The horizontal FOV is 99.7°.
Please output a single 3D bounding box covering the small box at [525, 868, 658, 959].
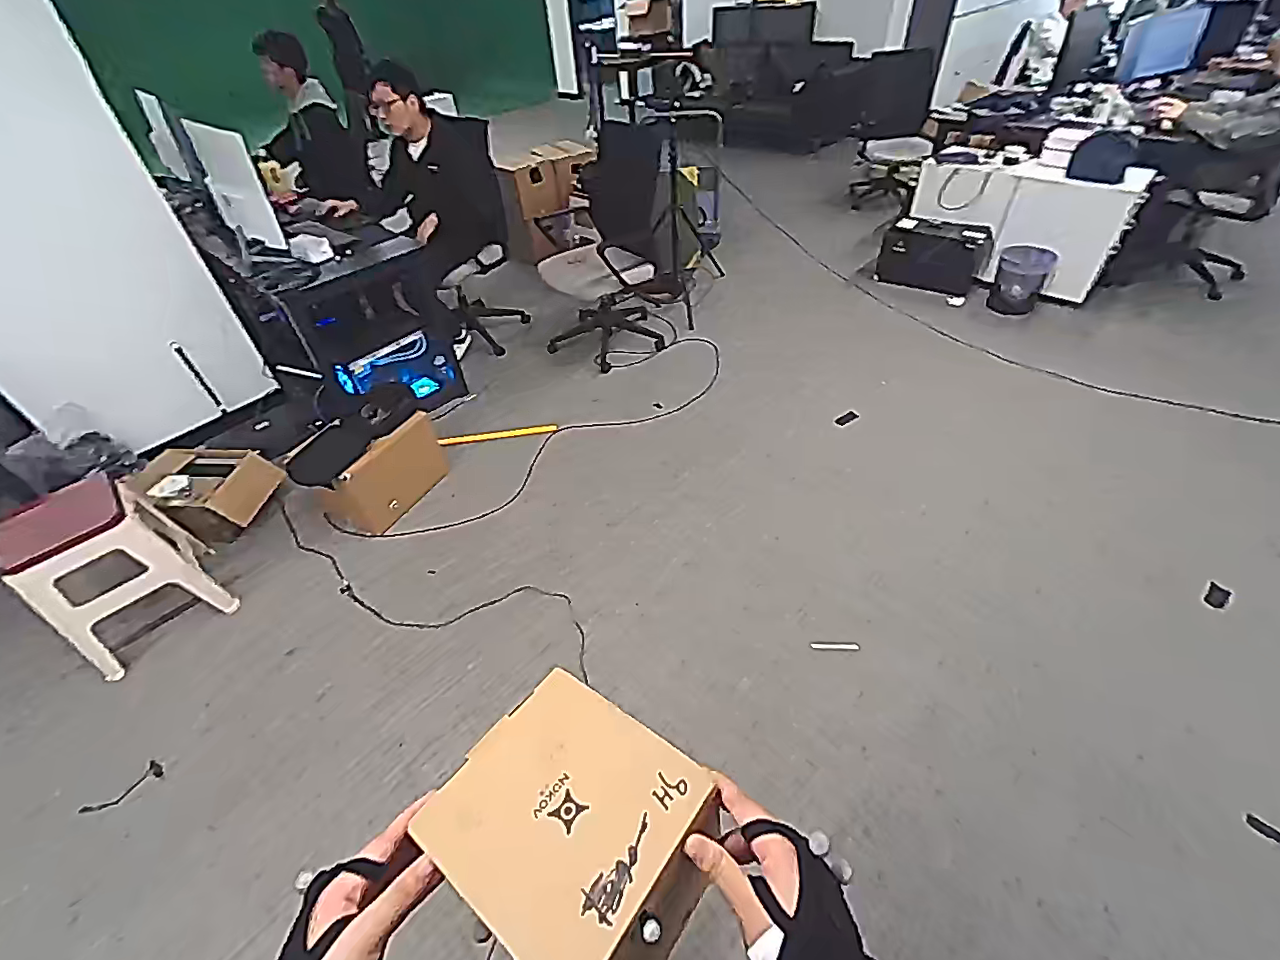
[{"bbox_3d":[-0.078,0.848,0.960,0.168,0.176,0.179,26,50,27],"label":"small box"}]
